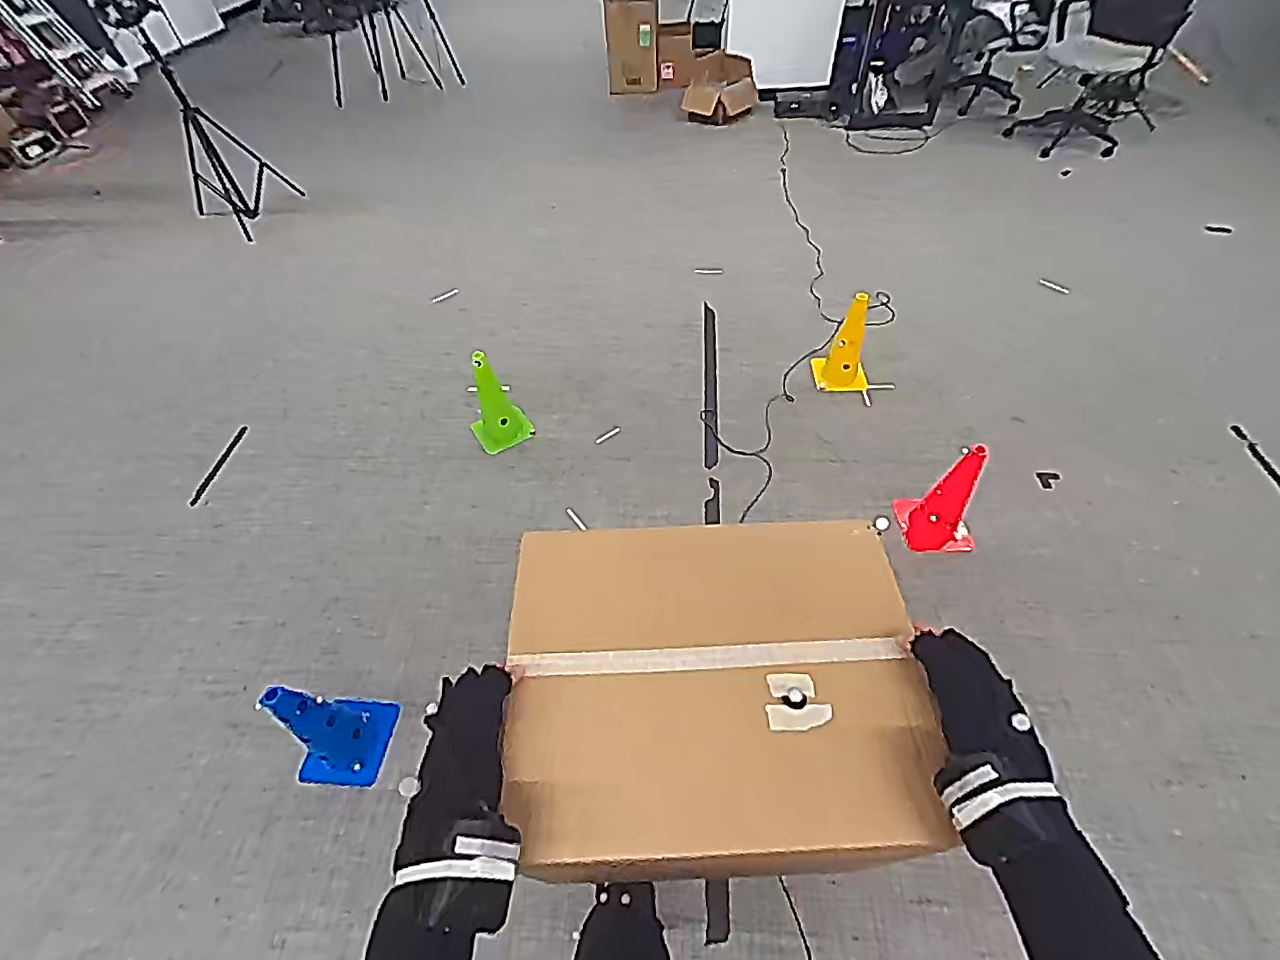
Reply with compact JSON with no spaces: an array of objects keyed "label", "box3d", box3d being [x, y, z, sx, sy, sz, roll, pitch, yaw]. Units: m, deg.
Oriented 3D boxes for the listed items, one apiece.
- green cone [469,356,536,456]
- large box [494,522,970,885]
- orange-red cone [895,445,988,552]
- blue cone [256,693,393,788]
[{"label":"green cone","box3d":[-0.538,-0.297,1.948,0.202,0.368,0.200,-30,54,-18]},{"label":"large box","box3d":[0.070,0.271,0.648,0.408,0.320,0.320,-2,51,-1]},{"label":"orange-red cone","box3d":[0.919,0.031,1.580,0.198,0.360,0.199,-1,49,2]},{"label":"blue cone","box3d":[-0.756,0.576,1.262,0.192,0.380,0.193,2,50,7]}]
